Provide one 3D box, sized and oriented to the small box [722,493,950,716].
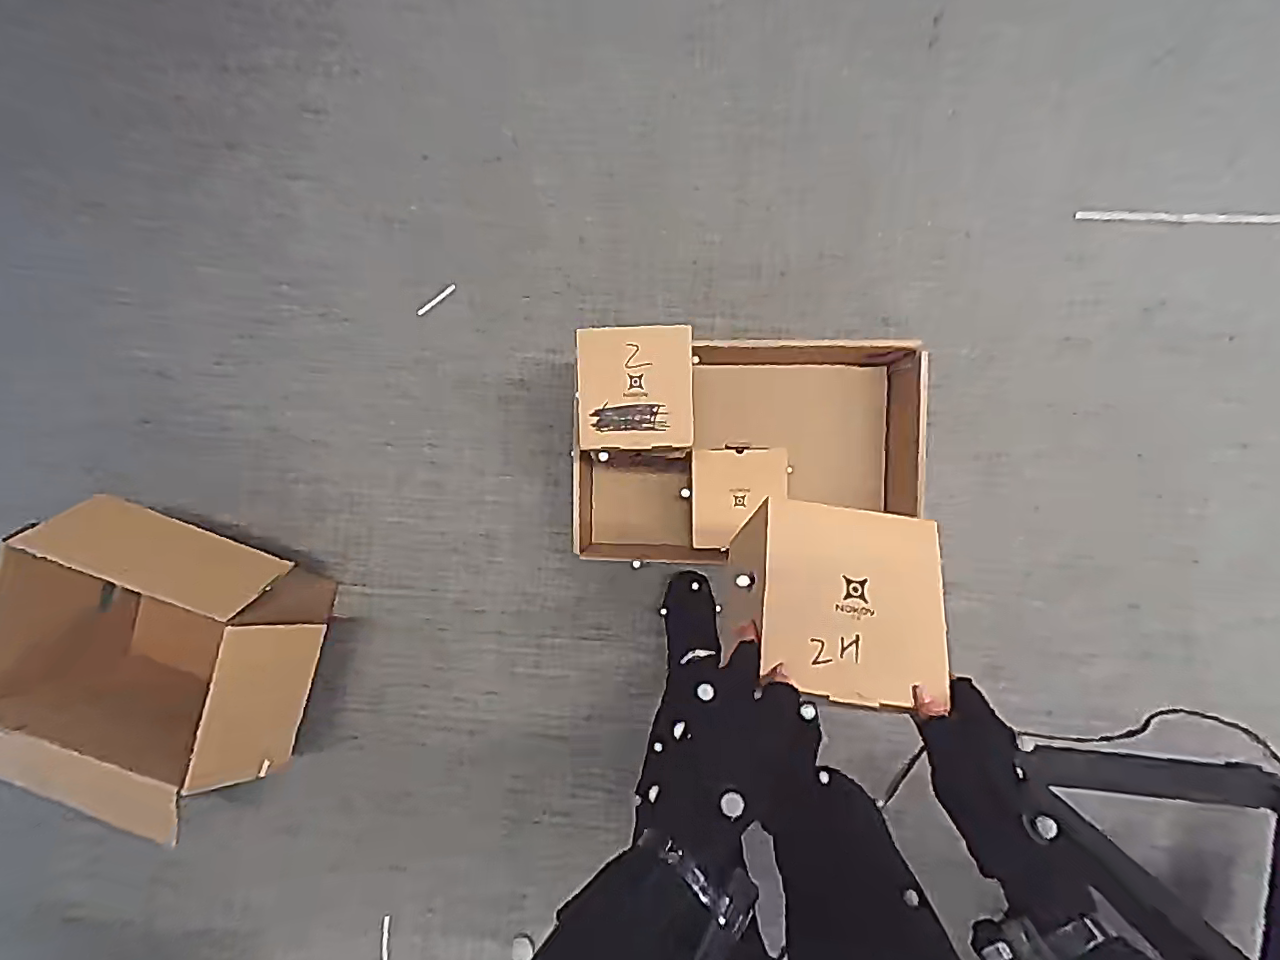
[{"bbox_3d":[0.186,0.133,0.556,0.168,0.176,0.179,10,69,-1],"label":"small box"}]
